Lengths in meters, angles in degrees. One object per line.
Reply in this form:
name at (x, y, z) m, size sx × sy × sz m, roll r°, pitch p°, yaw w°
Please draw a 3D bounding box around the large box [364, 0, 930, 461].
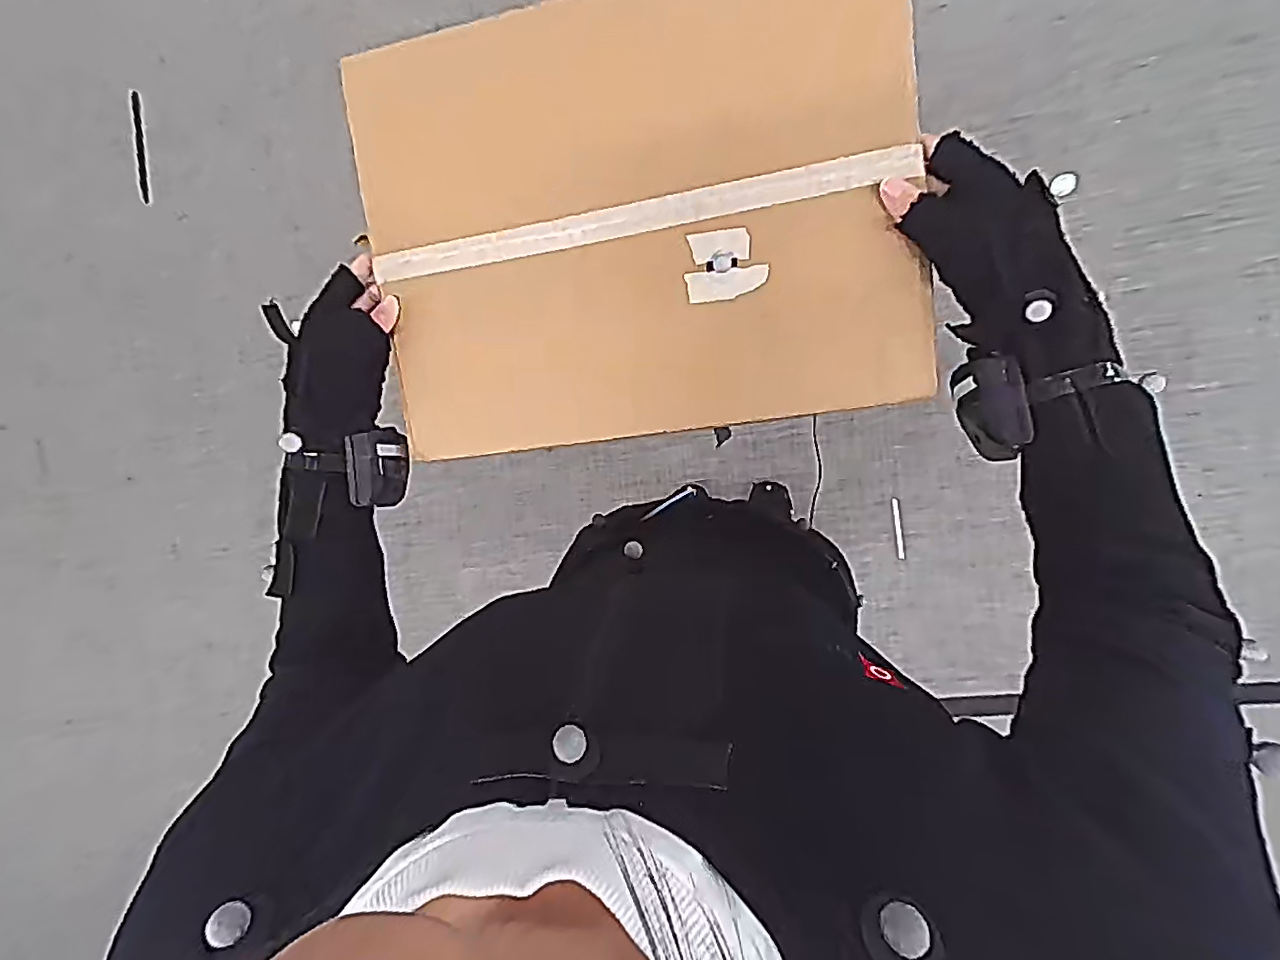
large box at (0.016, -0.211, 0.555) m, size 0.408 × 0.320 × 0.320 m, roll -7°, pitch 97°, yaw 10°
